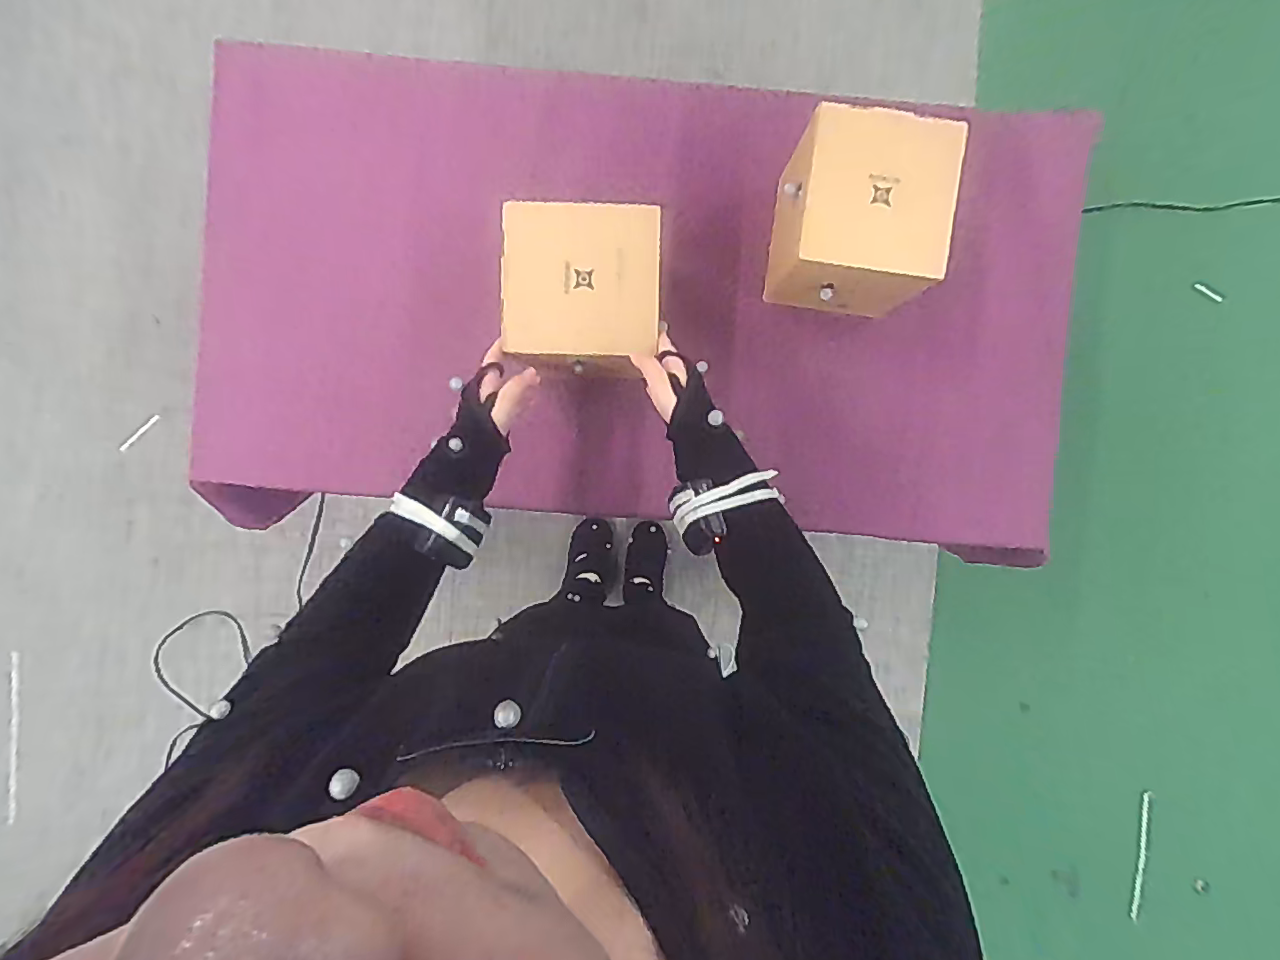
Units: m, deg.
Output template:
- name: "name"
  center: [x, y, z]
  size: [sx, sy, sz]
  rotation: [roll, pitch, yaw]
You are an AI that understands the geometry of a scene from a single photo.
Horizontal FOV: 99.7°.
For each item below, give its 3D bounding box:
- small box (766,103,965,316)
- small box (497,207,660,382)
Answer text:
- name: "small box"
  center: [0.262, -0.317, 0.672]
  size: [0.168, 0.176, 0.179]
  rotation: [8, 91, 0]
- name: "small box"
  center: [-0.068, -0.217, 0.673]
  size: [0.179, 0.176, 0.168]
  rotation: [2, 92, -1]
